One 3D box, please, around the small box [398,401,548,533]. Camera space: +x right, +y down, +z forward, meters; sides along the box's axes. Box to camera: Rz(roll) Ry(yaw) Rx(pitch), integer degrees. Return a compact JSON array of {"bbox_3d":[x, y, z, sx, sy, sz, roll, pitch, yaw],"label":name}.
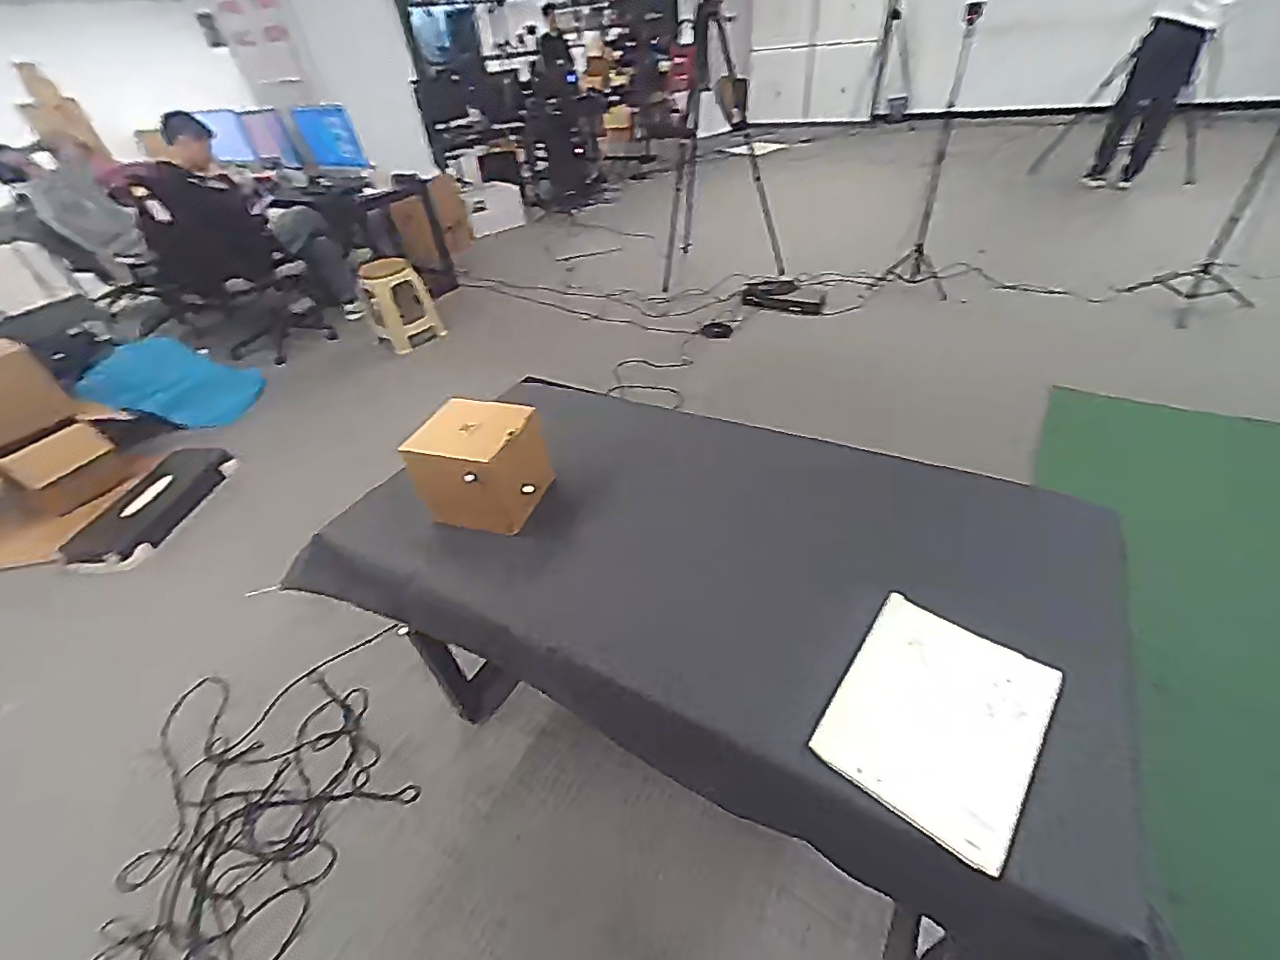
[{"bbox_3d":[-0.286,-0.024,0.970,0.179,0.176,0.168,8,41,16],"label":"small box"}]
